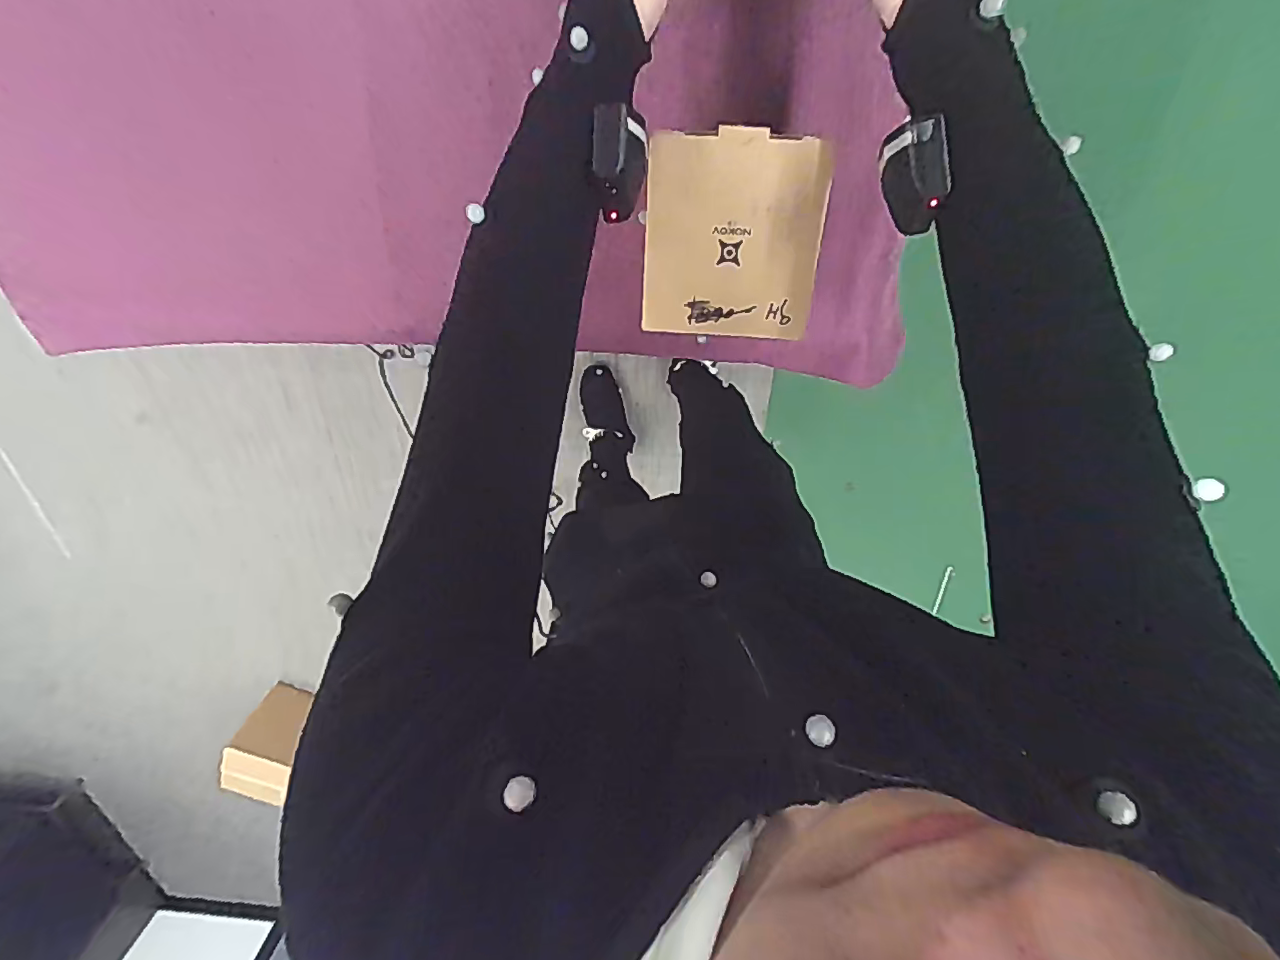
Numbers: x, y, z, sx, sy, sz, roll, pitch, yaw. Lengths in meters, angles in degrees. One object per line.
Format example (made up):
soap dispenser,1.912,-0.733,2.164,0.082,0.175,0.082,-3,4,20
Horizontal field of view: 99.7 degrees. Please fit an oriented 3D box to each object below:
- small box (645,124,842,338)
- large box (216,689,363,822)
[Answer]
small box,0.096,-0.261,0.577,0.168,0.176,0.179,5,116,4
large box,-1.449,1.139,2.252,0.408,0.320,0.320,23,119,-9
